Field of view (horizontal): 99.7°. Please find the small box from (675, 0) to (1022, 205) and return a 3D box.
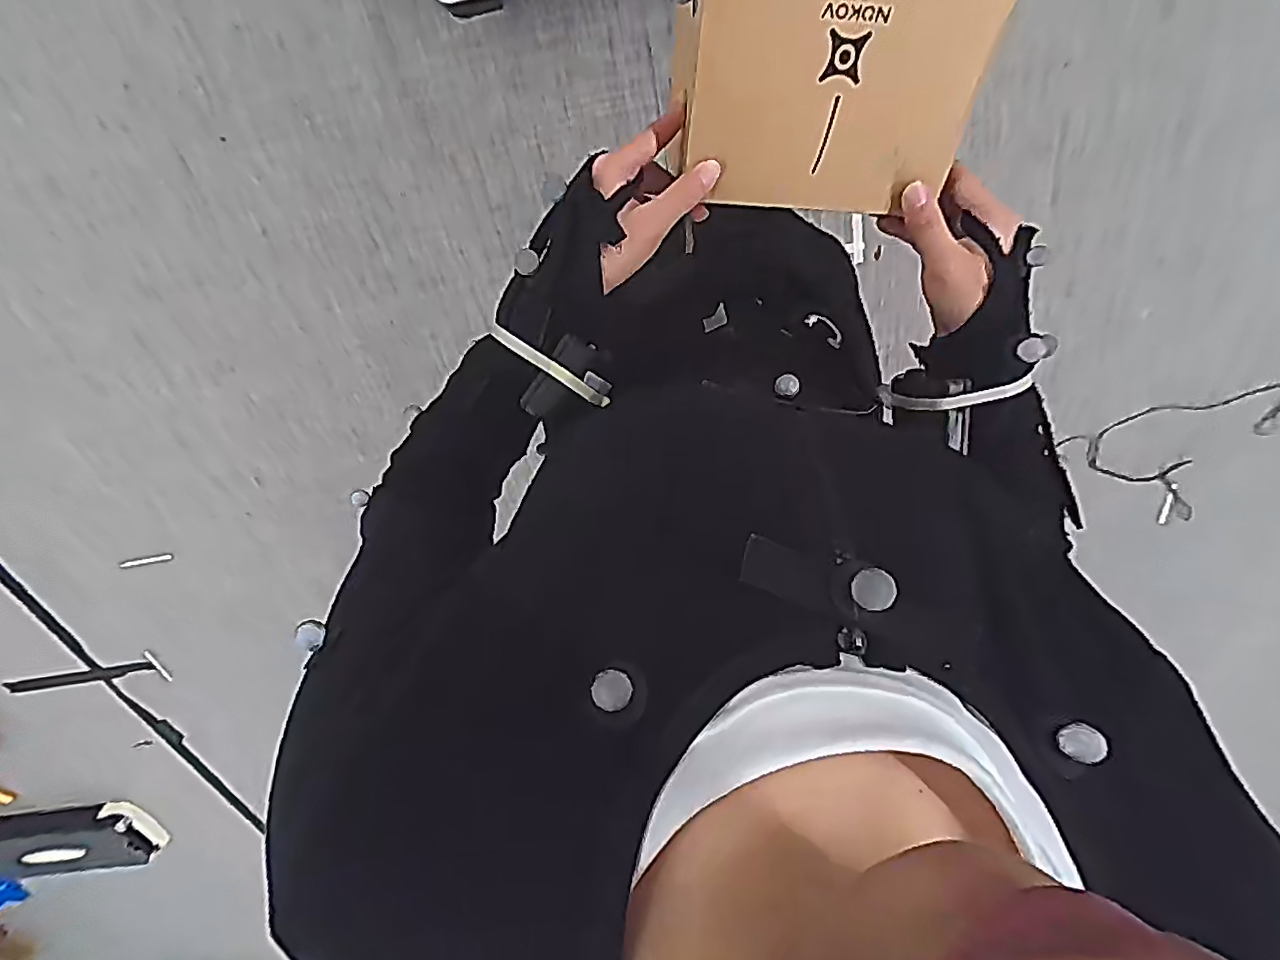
[{"bbox_3d":[0.115,-0.298,0.344,0.168,0.176,0.179,3,133,-3],"label":"small box"}]
